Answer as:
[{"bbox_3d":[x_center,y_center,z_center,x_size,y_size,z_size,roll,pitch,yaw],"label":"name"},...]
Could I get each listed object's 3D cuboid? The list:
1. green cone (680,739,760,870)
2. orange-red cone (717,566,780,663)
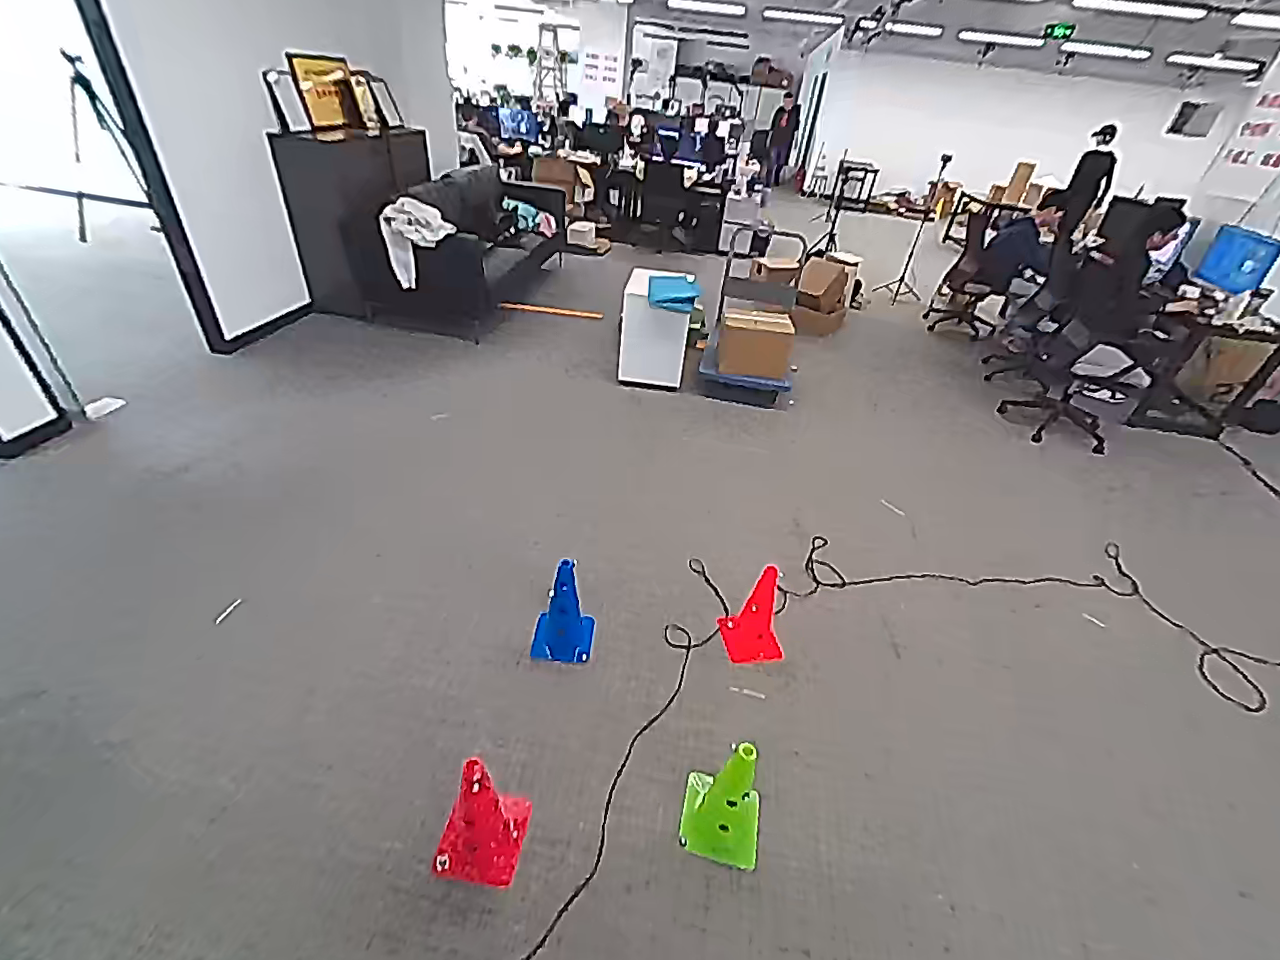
[{"bbox_3d":[0.233,0.763,1.336,0.200,0.368,0.202,12,35,7],"label":"green cone"},{"bbox_3d":[0.401,0.430,1.833,0.198,0.360,0.199,-1,38,-9],"label":"orange-red cone"}]
